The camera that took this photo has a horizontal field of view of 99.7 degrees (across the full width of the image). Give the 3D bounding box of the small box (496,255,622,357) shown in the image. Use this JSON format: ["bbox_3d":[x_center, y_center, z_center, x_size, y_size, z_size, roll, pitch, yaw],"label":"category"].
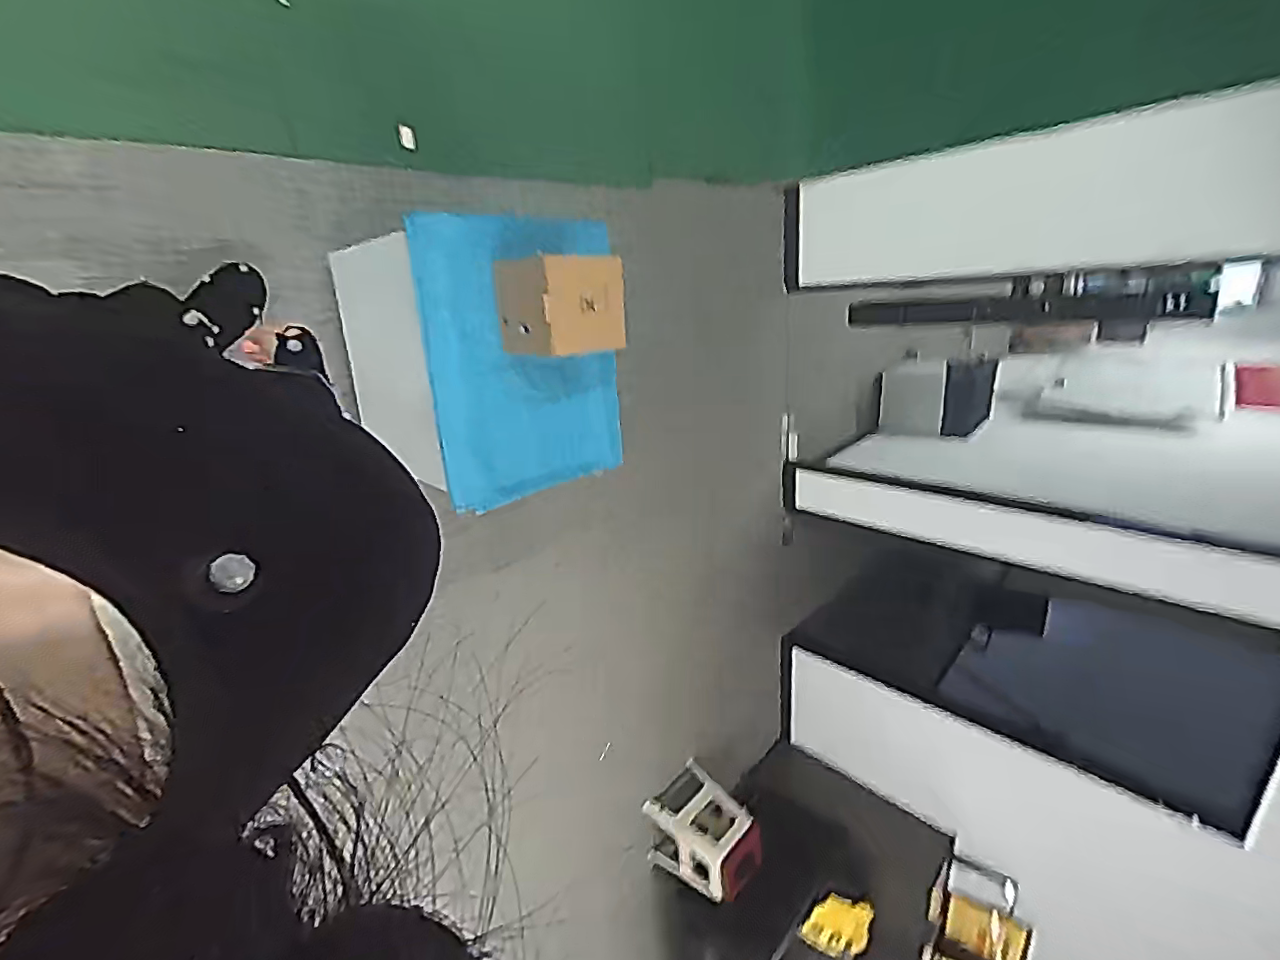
[{"bbox_3d":[-0.154,-0.322,1.010,0.179,0.176,0.168,-19,116,-43],"label":"small box"}]
